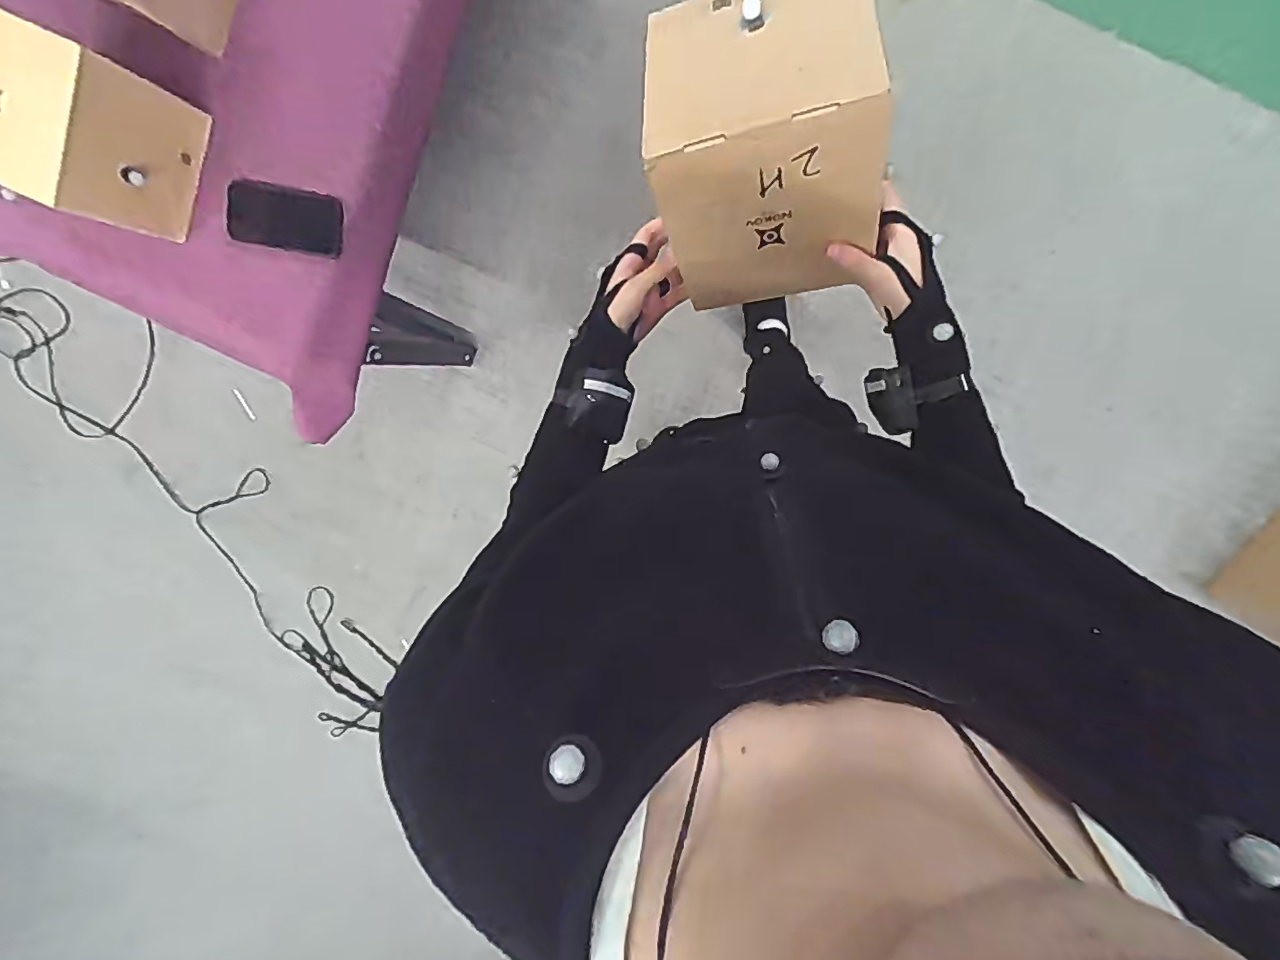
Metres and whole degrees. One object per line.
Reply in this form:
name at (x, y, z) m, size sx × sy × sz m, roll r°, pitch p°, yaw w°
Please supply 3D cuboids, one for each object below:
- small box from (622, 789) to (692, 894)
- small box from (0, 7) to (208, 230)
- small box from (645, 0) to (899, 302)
small box at (0.052, 1.078, 1.621) m, size 0.168 × 0.176 × 0.179 m, roll 15°, pitch 101°, yaw -1°
small box at (-0.660, -0.413, 0.627) m, size 0.179 × 0.176 × 0.168 m, roll 24°, pitch 102°, yaw -1°
small box at (0.109, -0.285, 0.455) m, size 0.168 × 0.179 × 0.176 m, roll -6°, pitch 66°, yaw 18°
